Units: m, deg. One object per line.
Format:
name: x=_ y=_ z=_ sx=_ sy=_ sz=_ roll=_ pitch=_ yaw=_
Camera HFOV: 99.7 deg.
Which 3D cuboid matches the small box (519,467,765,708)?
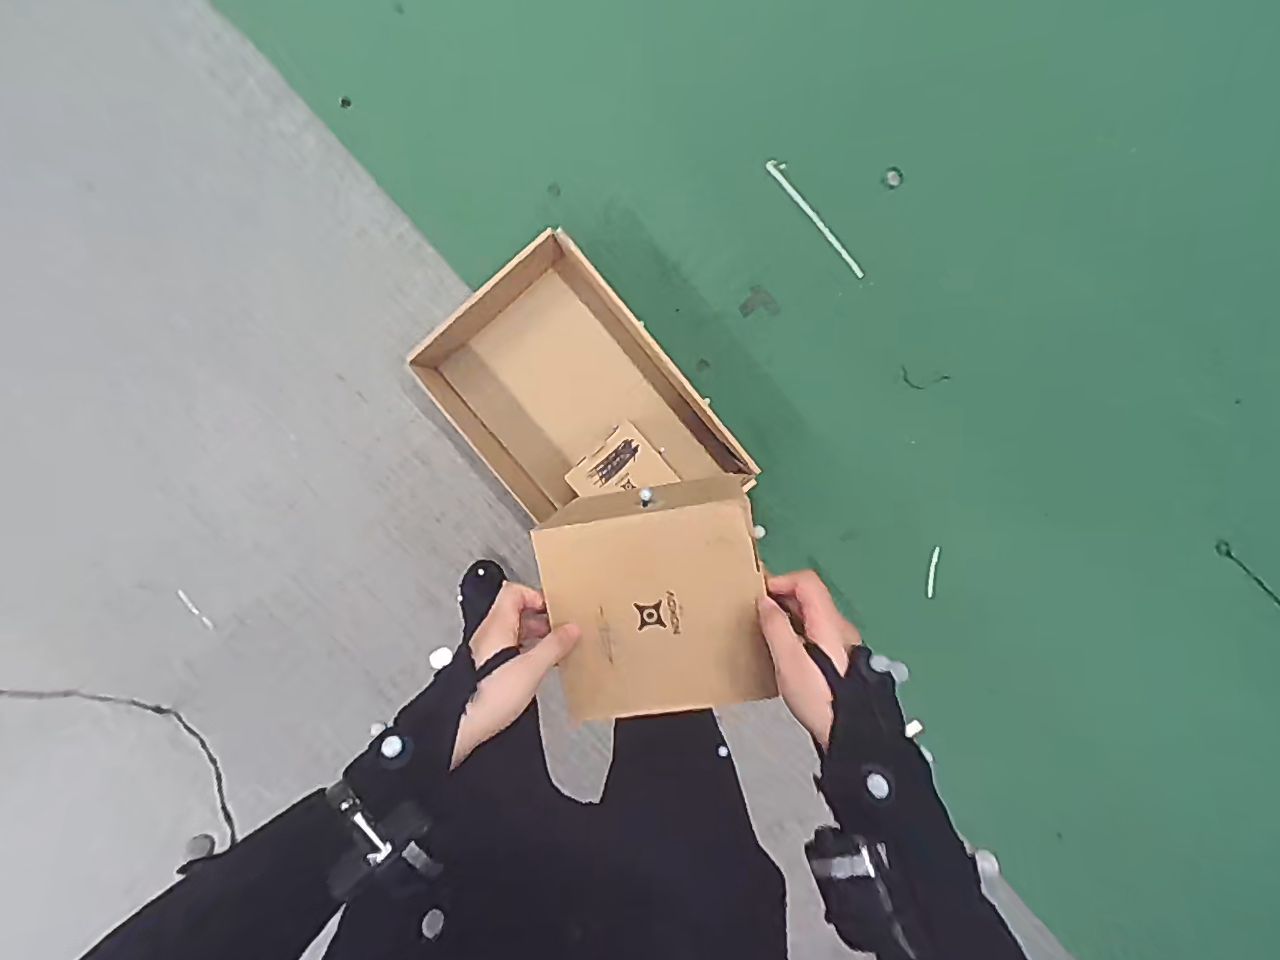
small box: x=0.009 y=0.087 z=0.512 sx=0.179 sy=0.176 sz=0.168 roll=-11 pitch=95 yaw=8
